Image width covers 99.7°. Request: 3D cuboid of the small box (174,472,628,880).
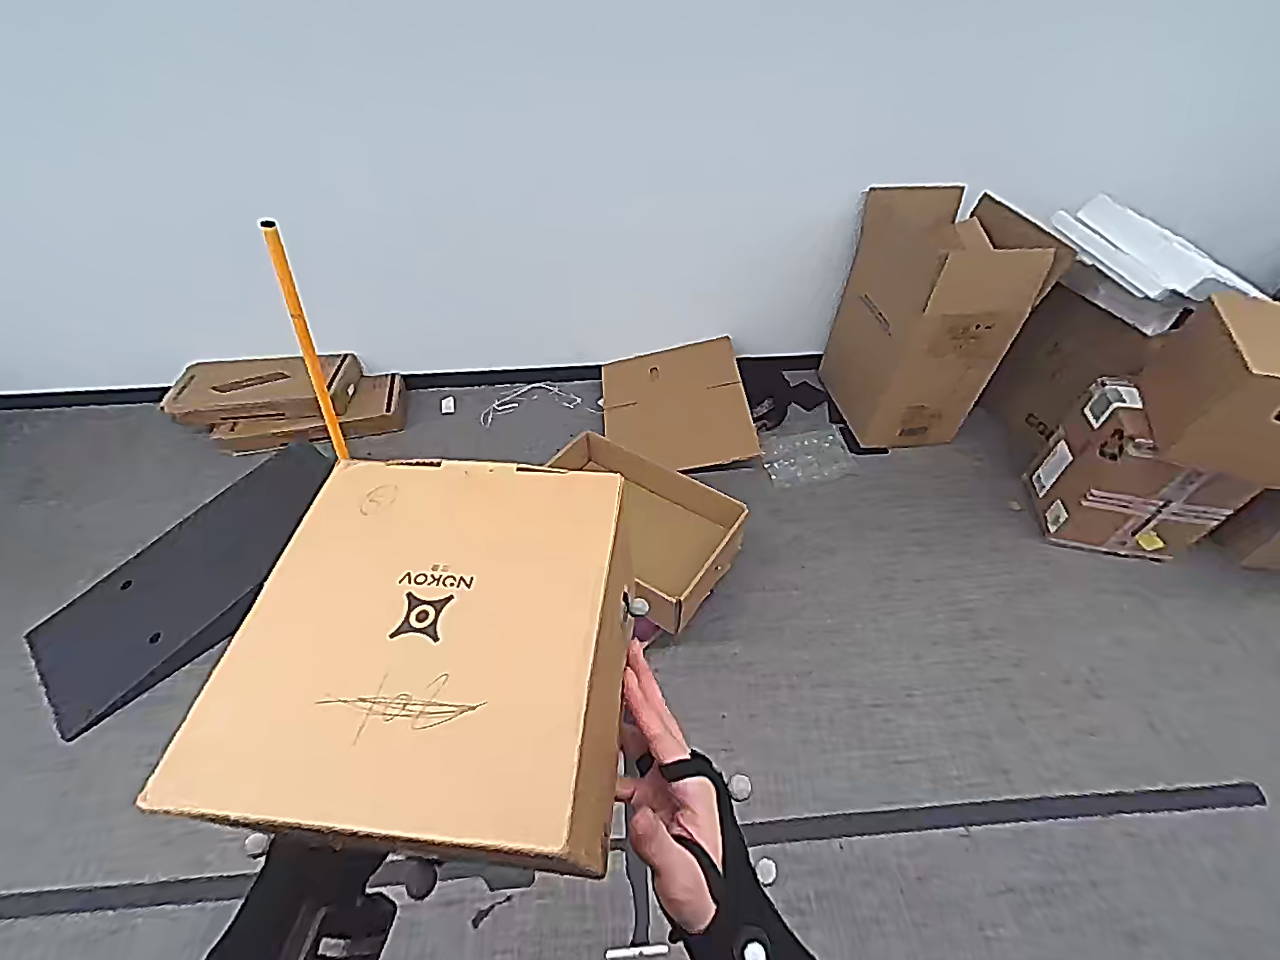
[{"bbox_3d":[-0.097,0.117,0.323,0.168,0.176,0.179,3,51,4],"label":"small box"}]
